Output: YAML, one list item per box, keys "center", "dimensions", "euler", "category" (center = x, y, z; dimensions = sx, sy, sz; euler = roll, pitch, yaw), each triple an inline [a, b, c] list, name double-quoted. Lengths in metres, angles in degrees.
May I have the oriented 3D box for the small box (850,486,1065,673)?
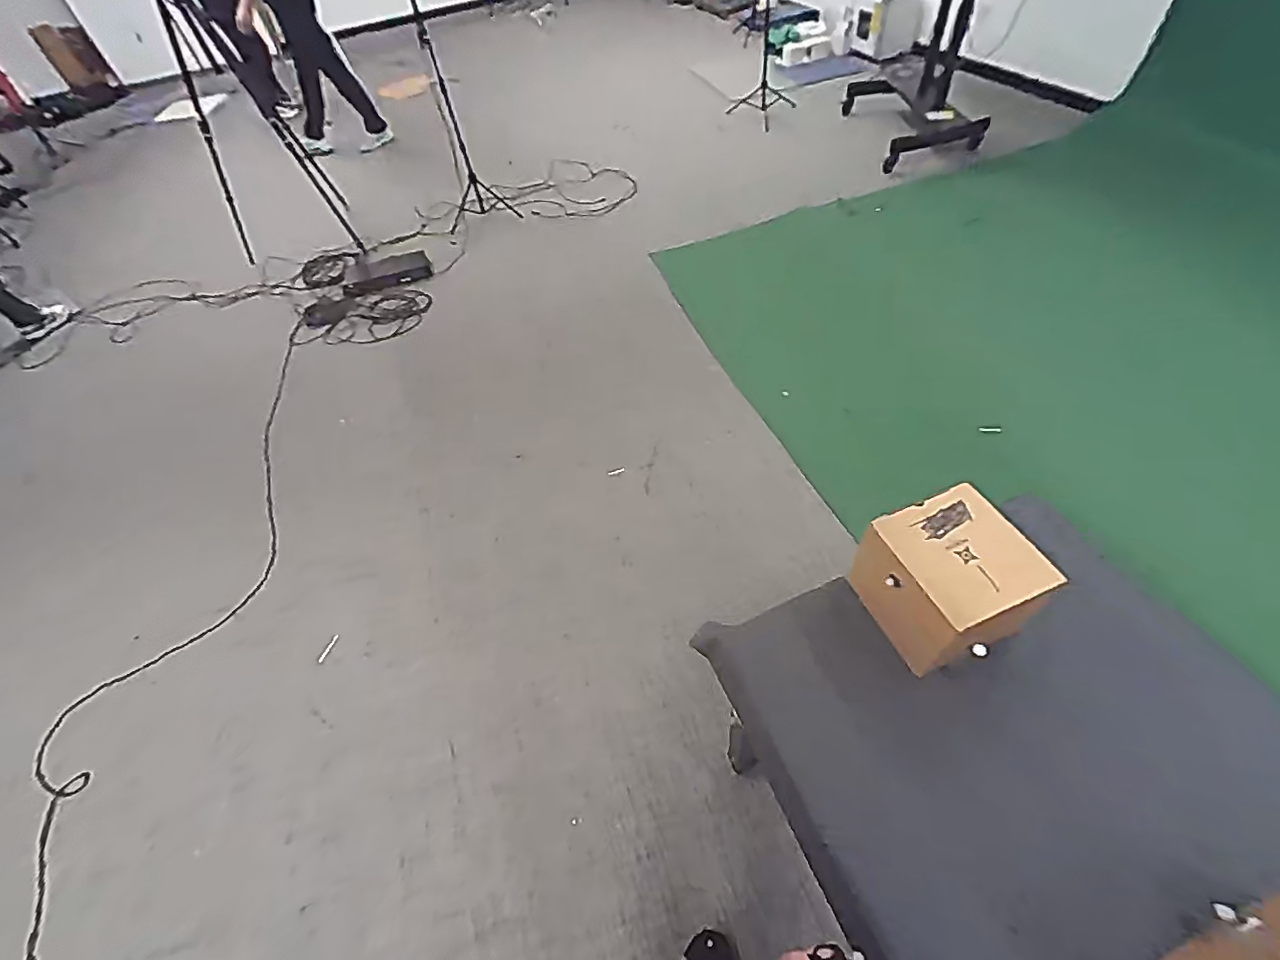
- center: [0.430, 0.144, 0.772]
  dimensions: [0.168, 0.176, 0.179]
  euler: [-20, 54, -9]
  category: "small box"
